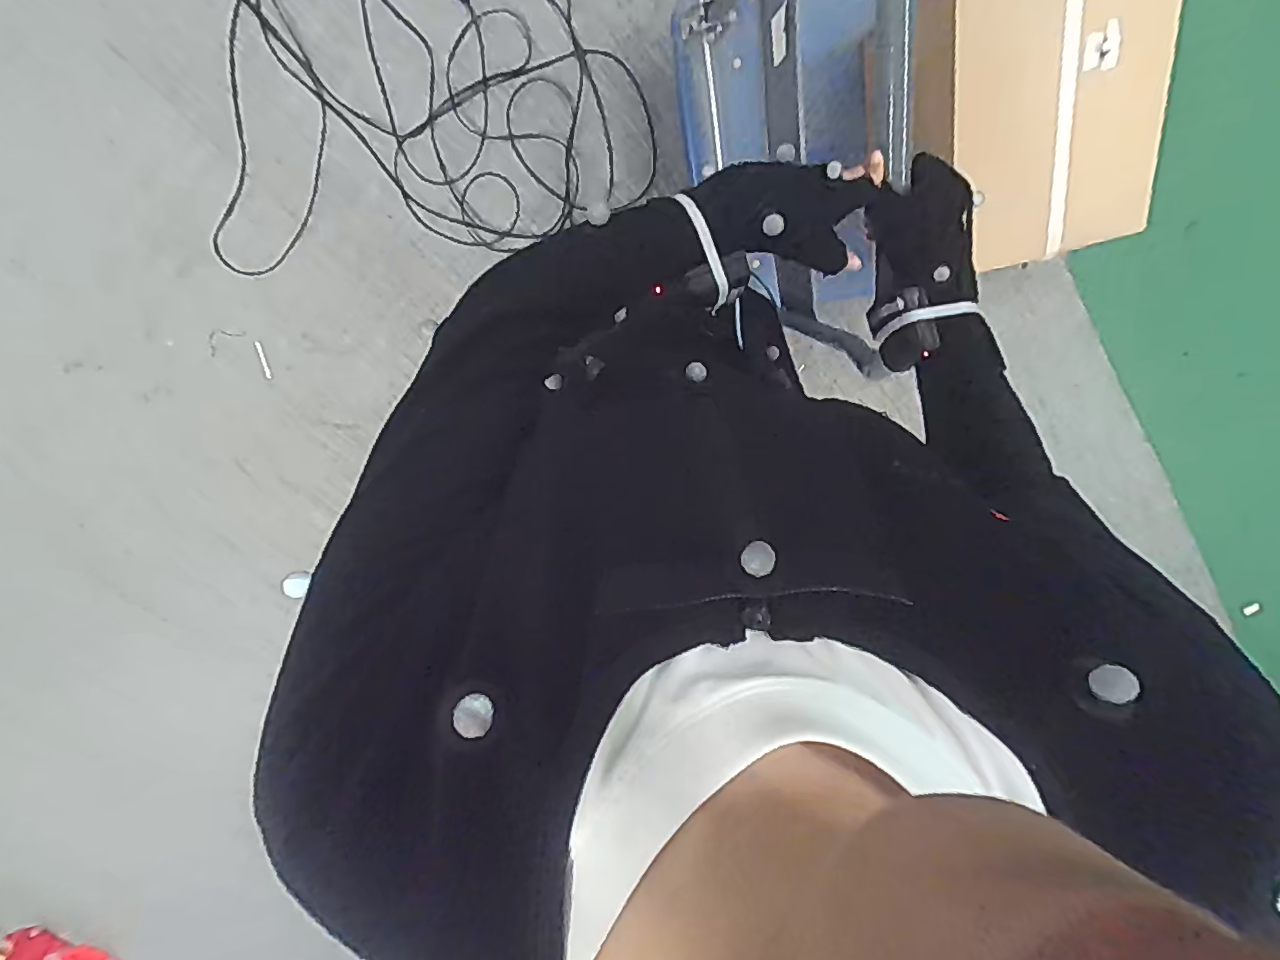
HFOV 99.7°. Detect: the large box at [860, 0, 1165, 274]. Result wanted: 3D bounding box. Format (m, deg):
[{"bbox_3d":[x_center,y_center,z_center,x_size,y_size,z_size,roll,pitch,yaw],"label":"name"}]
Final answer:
[{"bbox_3d":[0.604,-0.611,0.940,0.320,0.320,0.408,-14,115,3],"label":"large box"}]
